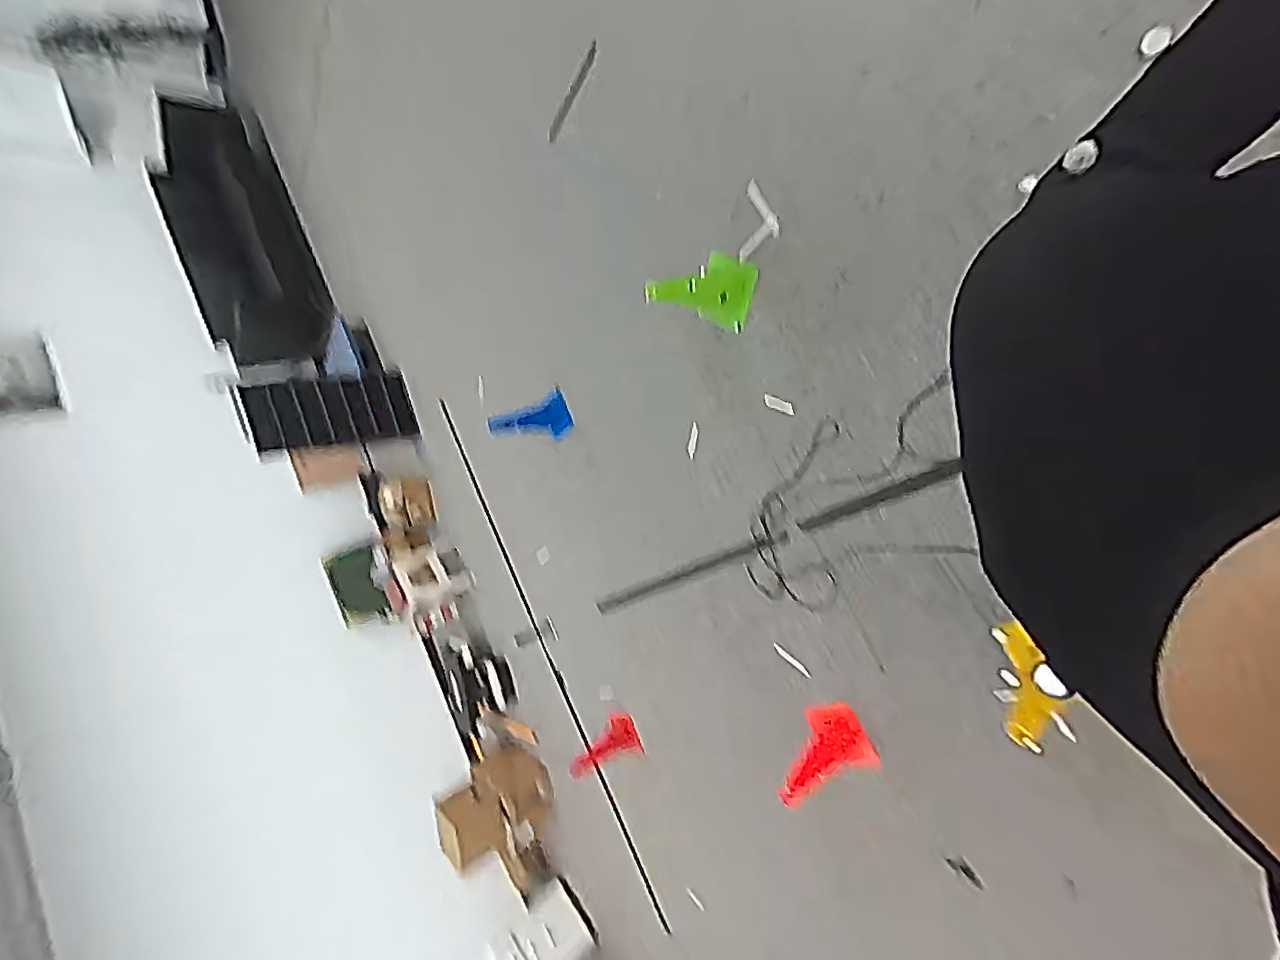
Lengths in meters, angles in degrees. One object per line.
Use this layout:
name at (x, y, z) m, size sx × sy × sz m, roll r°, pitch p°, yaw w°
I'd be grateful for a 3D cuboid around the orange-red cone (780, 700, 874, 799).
orange-red cone at (0.553, 0.887, 1.721) m, size 0.199 × 0.360 × 0.198 m, roll -37°, pitch 76°, yaw 46°

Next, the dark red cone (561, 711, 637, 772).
dark red cone at (-0.218, 1.320, 2.675) m, size 0.202 × 0.394 × 0.201 m, roll -26°, pitch 83°, yaw 48°

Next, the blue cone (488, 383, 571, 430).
blue cone at (-0.522, -0.313, 2.500) m, size 0.193 × 0.380 × 0.192 m, roll -29°, pitch 80°, yaw 48°

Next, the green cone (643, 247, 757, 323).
green cone at (0.155, -0.596, 1.639) m, size 0.202 × 0.368 × 0.200 m, roll 37°, pitch 127°, yaw 36°
